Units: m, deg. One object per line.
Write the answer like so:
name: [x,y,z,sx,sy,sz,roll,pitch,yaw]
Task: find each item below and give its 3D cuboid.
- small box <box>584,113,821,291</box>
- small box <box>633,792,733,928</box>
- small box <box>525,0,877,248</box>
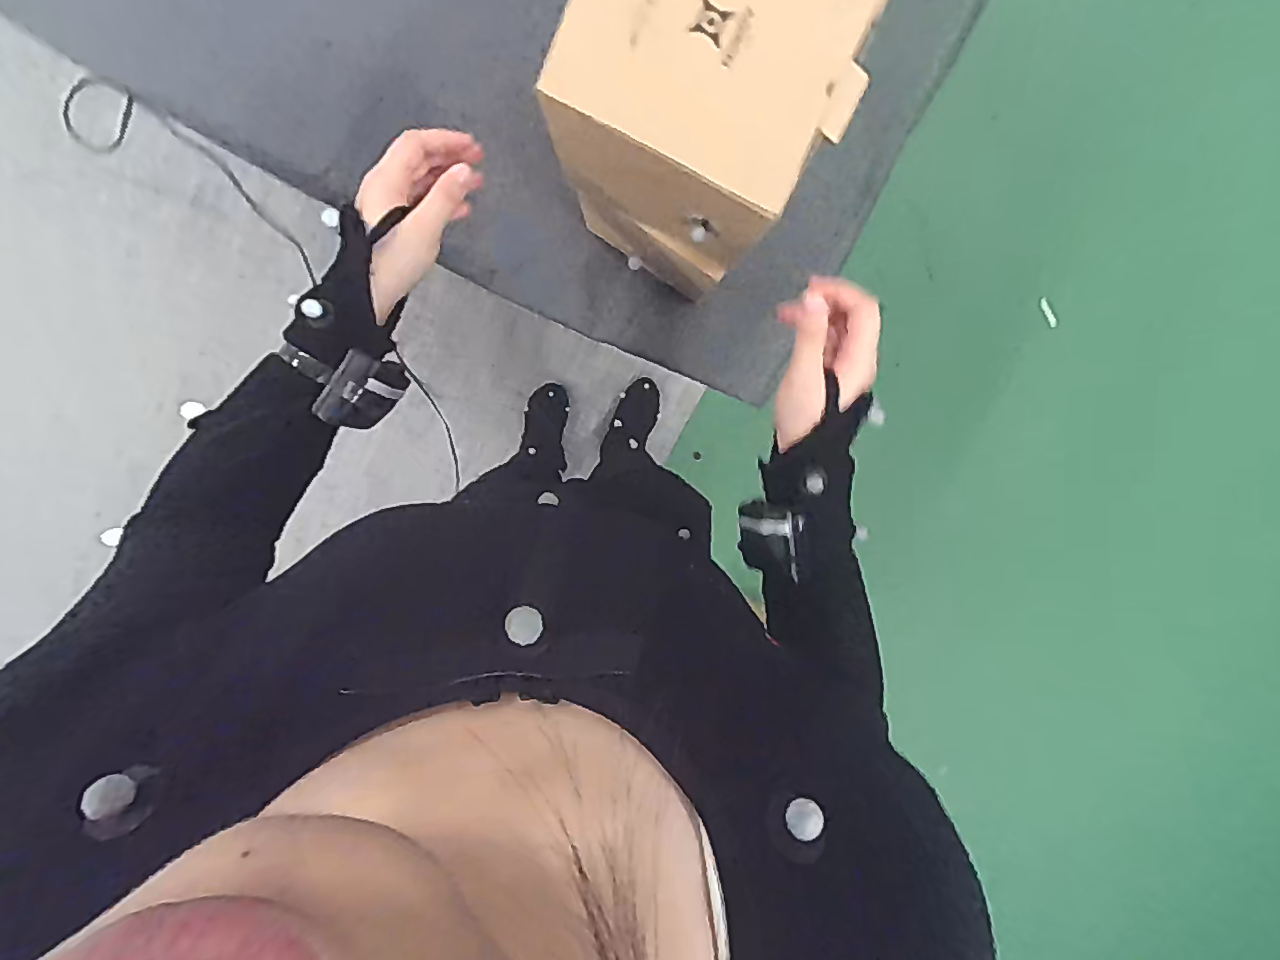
small box: [0.048,-0.323,0.562,0.168,0.176,0.179,33,100,-7]
small box: [0.091,0.884,1.274,0.168,0.176,0.179,30,101,-7]
small box: [0.041,-0.295,0.402,0.179,0.176,0.168,25,99,-4]
